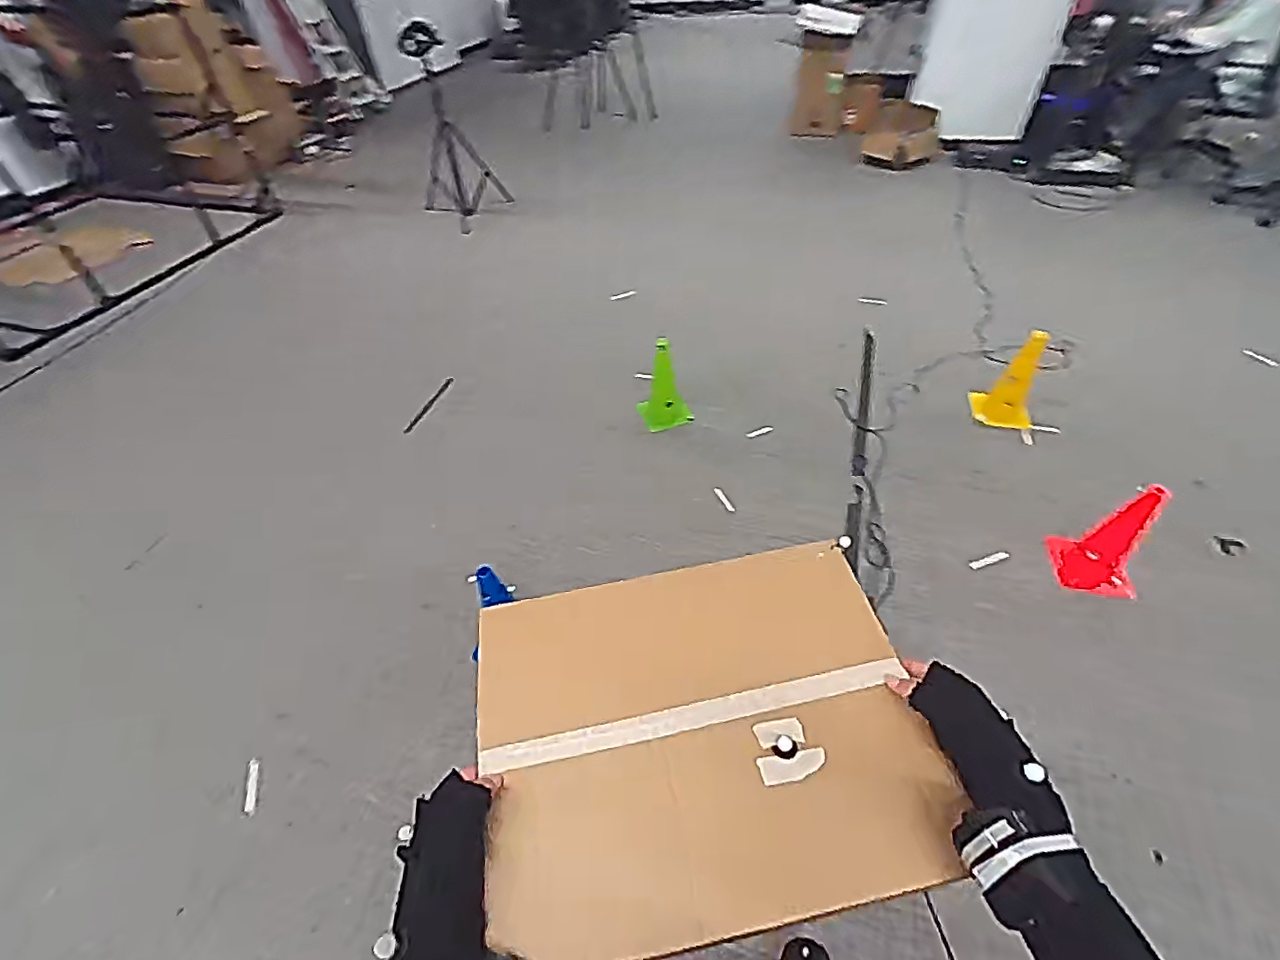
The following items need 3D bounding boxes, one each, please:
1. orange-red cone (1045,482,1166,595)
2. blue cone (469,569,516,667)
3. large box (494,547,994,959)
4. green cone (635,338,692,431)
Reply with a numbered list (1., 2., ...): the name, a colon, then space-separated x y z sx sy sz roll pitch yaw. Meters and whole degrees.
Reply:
1. orange-red cone: 1.378 0.139 1.556 0.198 0.360 0.199 9 47 12
2. blue cone: -0.396 0.370 1.510 0.192 0.380 0.193 12 49 17
3. large box: 0.069 0.322 0.619 0.408 0.320 0.320 -10 49 -4
4. green cone: 0.083 -0.408 2.178 0.202 0.368 0.200 -18 47 -10
